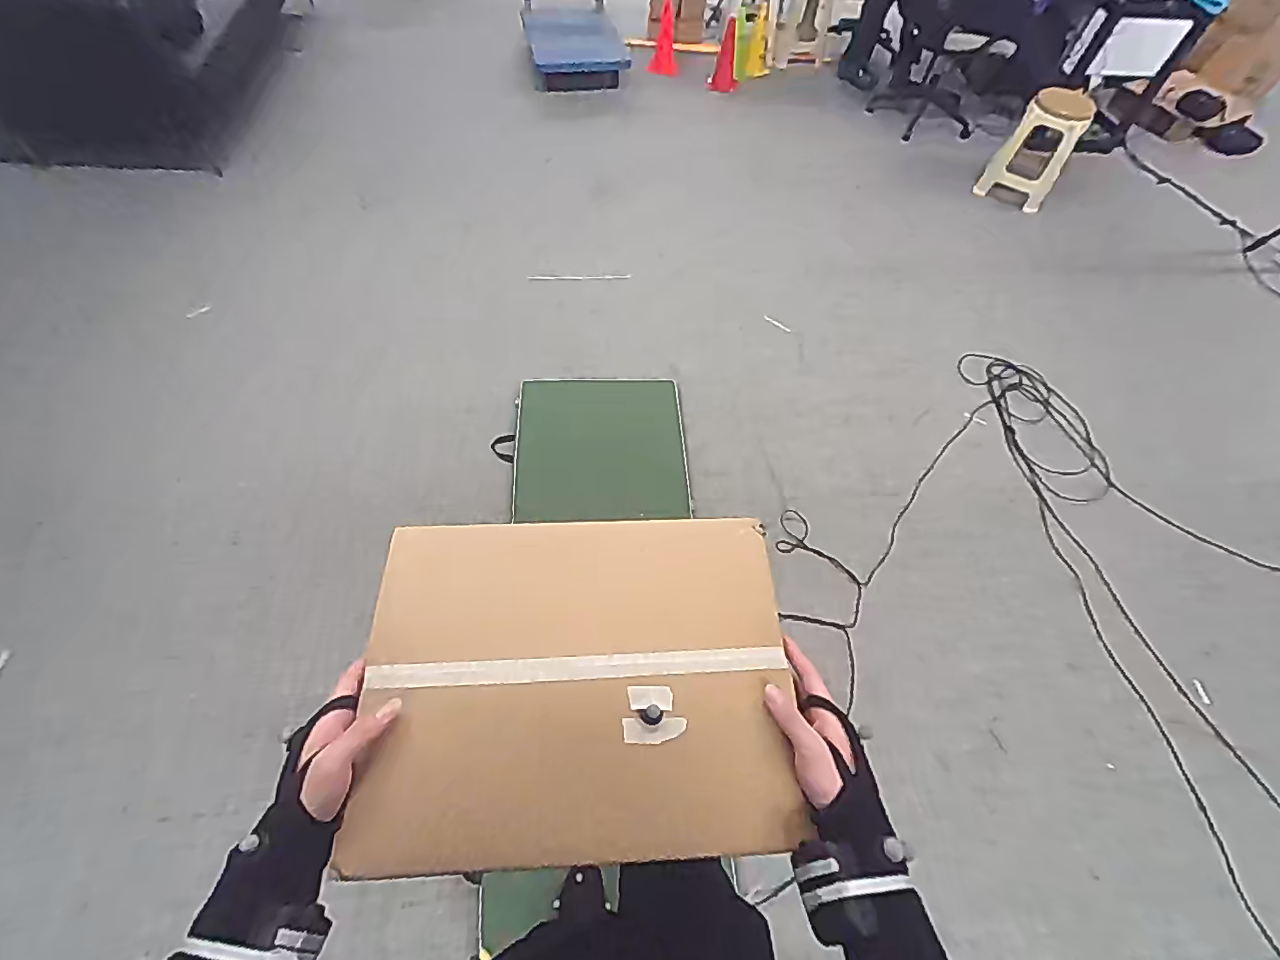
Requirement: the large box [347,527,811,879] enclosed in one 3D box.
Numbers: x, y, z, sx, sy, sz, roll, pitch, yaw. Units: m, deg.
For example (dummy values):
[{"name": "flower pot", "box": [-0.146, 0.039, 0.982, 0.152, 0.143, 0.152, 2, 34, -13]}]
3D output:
[{"name": "large box", "box": [-0.064, 0.269, 0.661, 0.408, 0.320, 0.320, -1, 59, -4]}]
